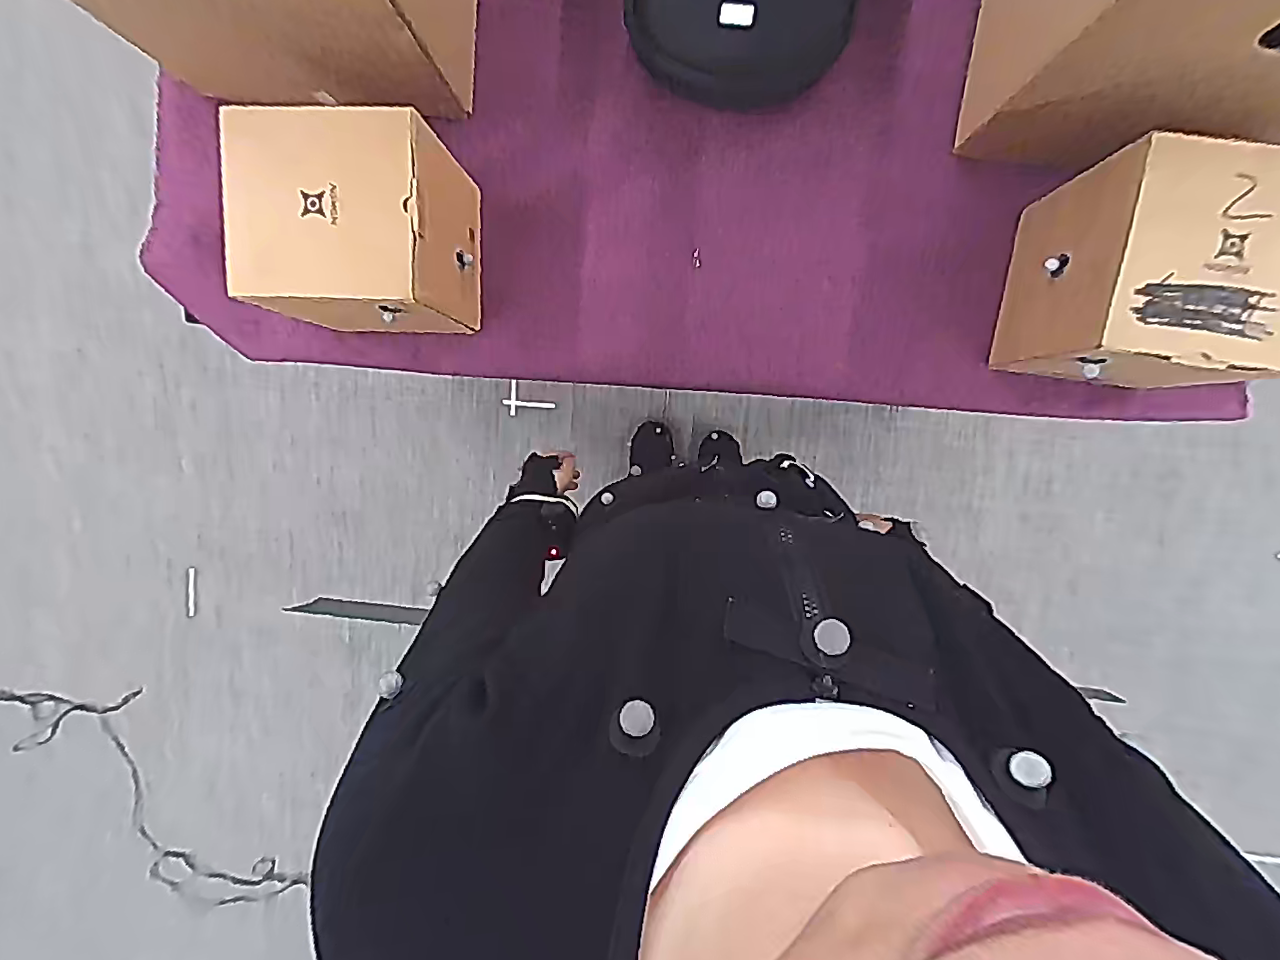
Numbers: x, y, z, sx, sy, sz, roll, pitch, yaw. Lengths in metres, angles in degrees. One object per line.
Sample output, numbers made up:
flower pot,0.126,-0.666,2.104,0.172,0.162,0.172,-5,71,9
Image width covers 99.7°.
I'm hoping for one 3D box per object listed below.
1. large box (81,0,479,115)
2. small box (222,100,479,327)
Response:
large box,-0.328,-0.604,0.449,0.320,0.320,0.408,4,99,1
small box,-0.281,-0.256,0.559,0.179,0.176,0.168,1,96,2
